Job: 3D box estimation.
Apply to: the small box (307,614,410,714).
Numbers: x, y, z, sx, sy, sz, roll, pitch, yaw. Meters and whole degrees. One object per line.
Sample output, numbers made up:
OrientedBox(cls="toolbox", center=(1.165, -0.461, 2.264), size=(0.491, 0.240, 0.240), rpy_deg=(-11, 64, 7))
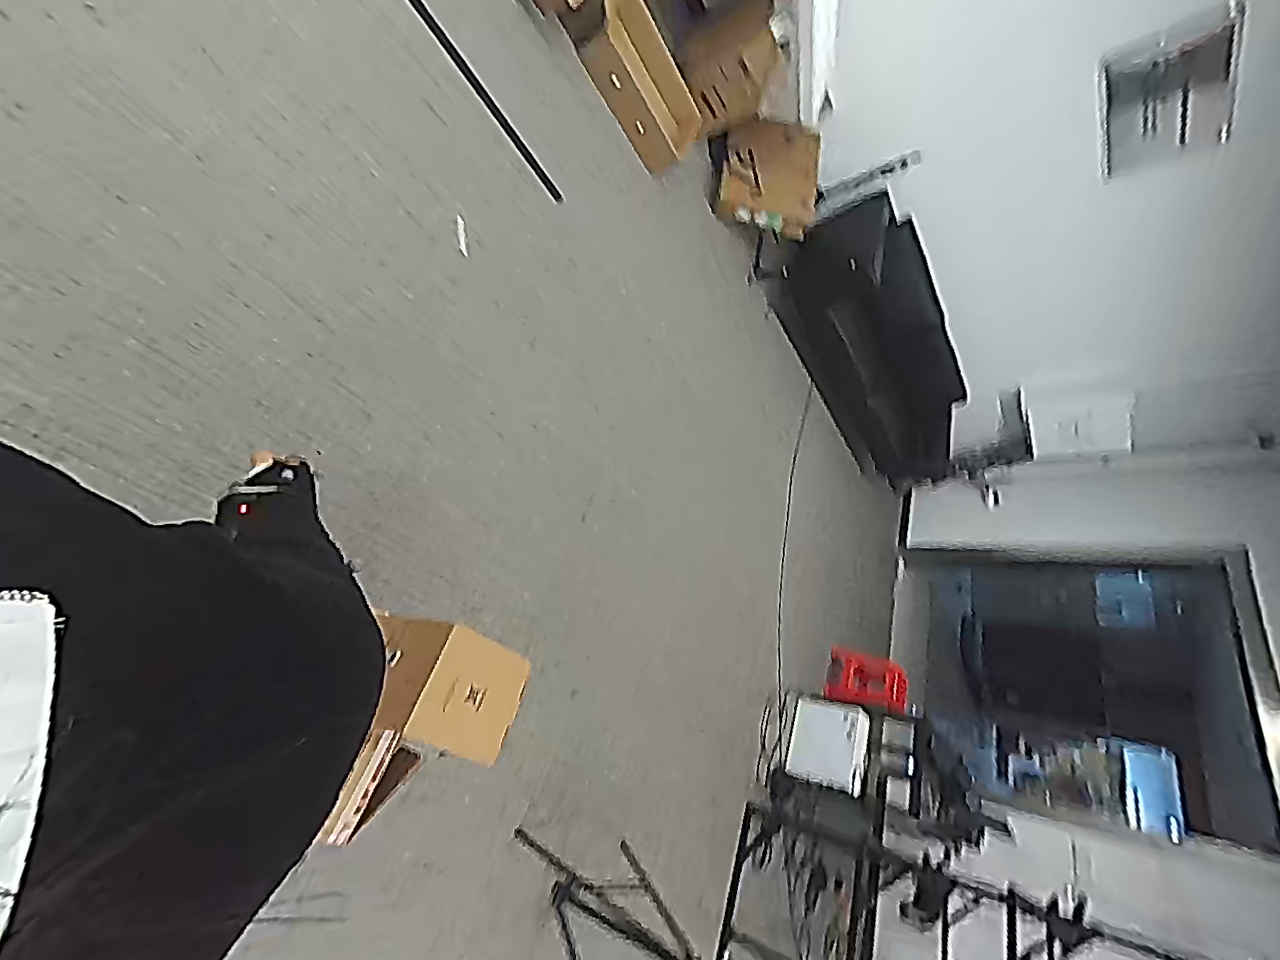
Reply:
OrientedBox(cls="small box", center=(-0.451, 0.351, 0.979), size=(0.179, 0.176, 0.168), rpy_deg=(45, 51, -37))

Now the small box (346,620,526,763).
OrientedBox(cls="small box", center=(-0.327, 0.334, 0.876), size=(0.179, 0.176, 0.168), rpy_deg=(45, 51, -36))
